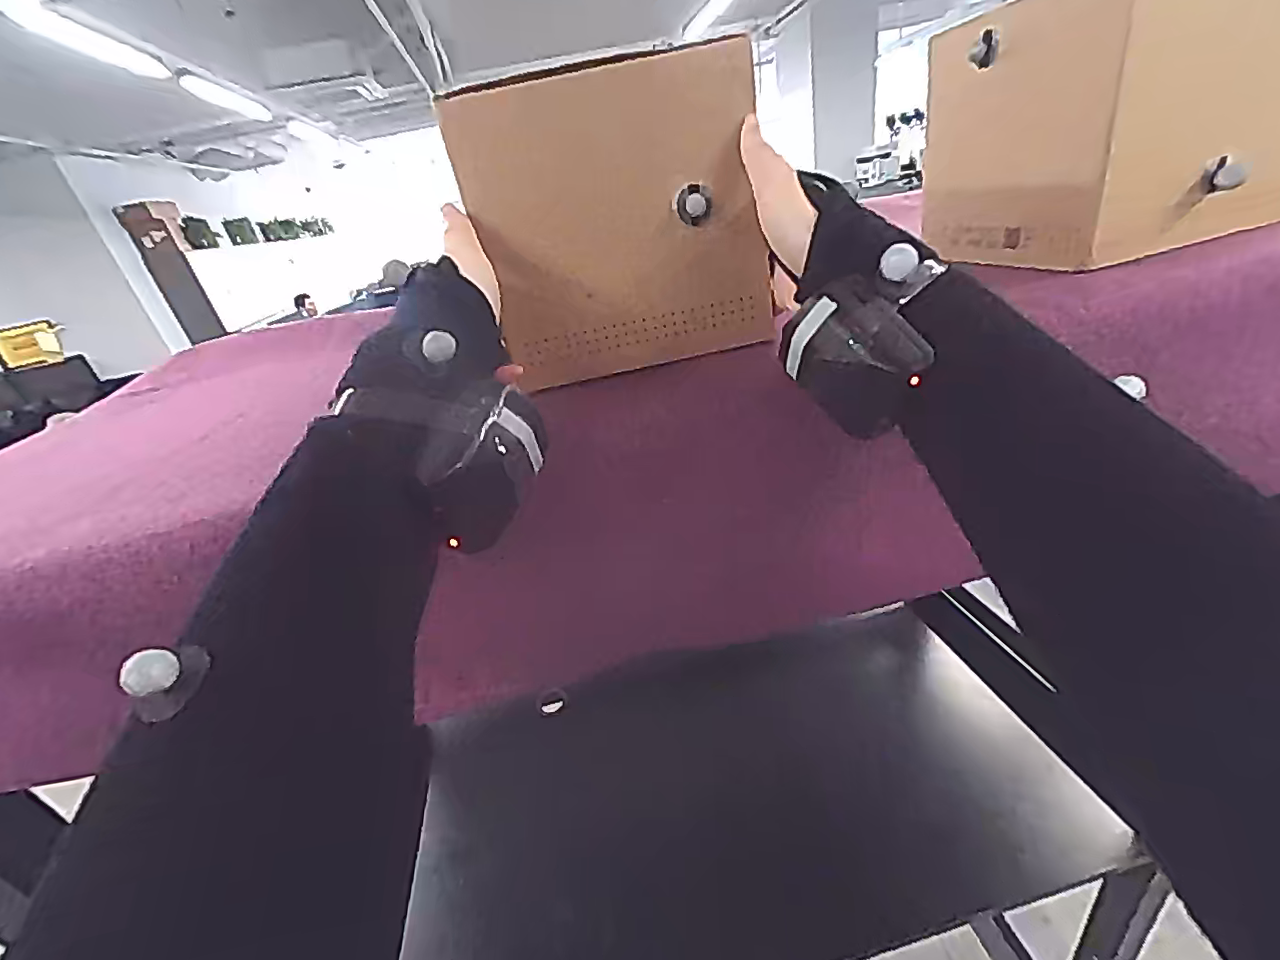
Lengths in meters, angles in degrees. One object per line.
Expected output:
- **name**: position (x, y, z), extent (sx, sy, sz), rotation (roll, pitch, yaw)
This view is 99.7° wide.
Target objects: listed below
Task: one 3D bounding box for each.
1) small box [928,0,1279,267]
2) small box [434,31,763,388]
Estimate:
- **small box**: position (0.339, -0.266, 0.395), extent (0.179, 0.176, 0.168), rotation (-16, 27, -6)
- **small box**: position (-0.017, -0.182, 0.391), extent (0.179, 0.176, 0.168), rotation (-13, 26, -1)
